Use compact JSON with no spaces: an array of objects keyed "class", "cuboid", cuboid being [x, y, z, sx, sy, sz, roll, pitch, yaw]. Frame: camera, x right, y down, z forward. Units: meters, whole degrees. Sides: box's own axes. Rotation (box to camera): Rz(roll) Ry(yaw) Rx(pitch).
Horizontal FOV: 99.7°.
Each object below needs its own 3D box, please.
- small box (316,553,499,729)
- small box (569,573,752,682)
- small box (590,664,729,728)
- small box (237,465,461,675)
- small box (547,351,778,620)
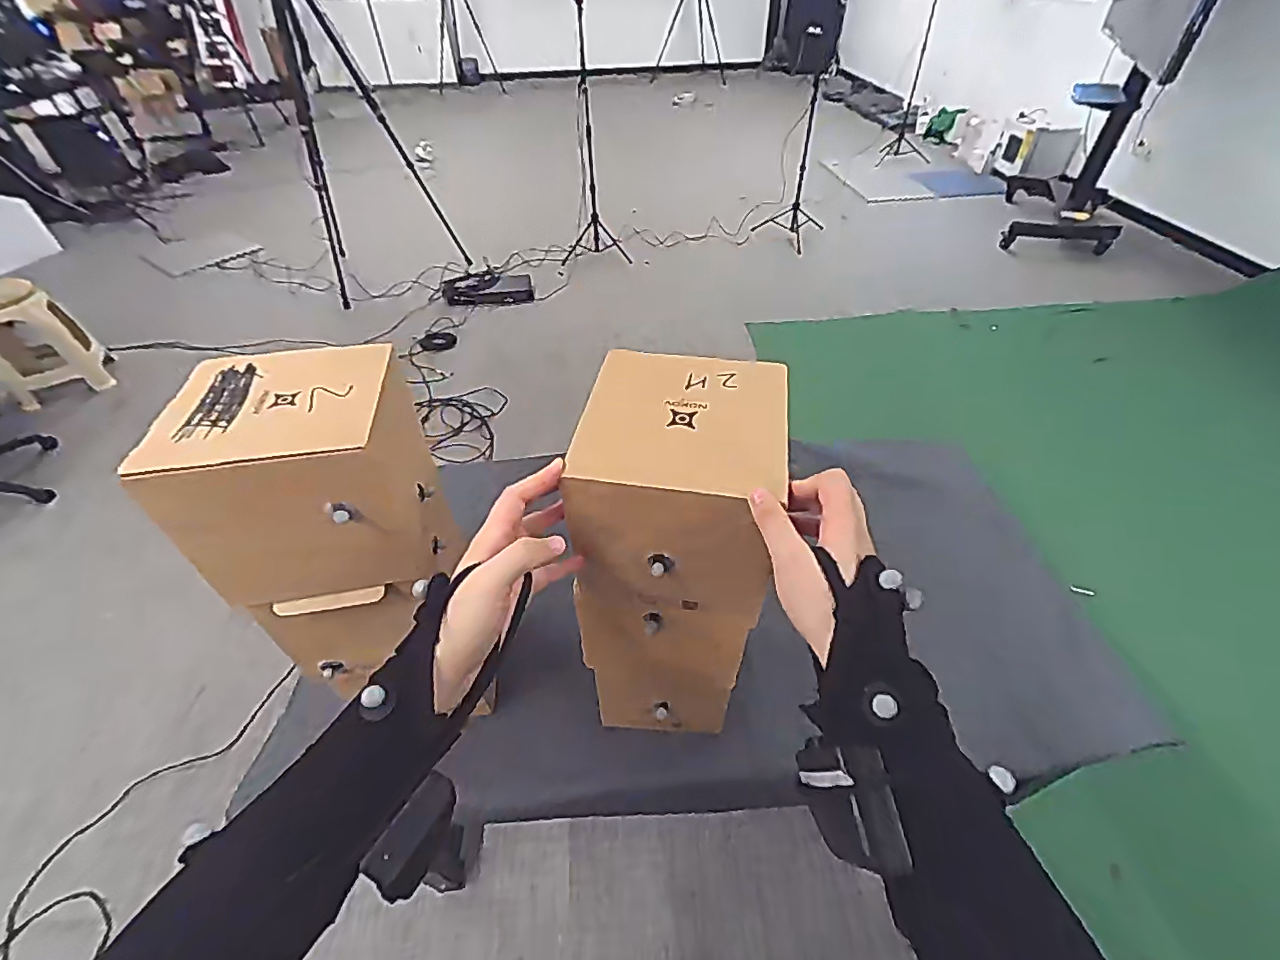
[{"class":"small box","cuboid":[-0.302,0.225,0.752,0.179,0.176,0.168,-6,44,-3]},{"class":"small box","cuboid":[0.031,0.113,0.619,0.179,0.176,0.168,5,45,8]},{"class":"small box","cuboid":[0.032,0.221,0.740,0.168,0.176,0.179,1,45,4]},{"class":"small box","cuboid":[-0.316,0.110,0.635,0.168,0.176,0.179,-8,43,-7]},{"class":"small box","cuboid":[0.030,0.005,0.492,0.168,0.176,0.179,7,45,8]}]
